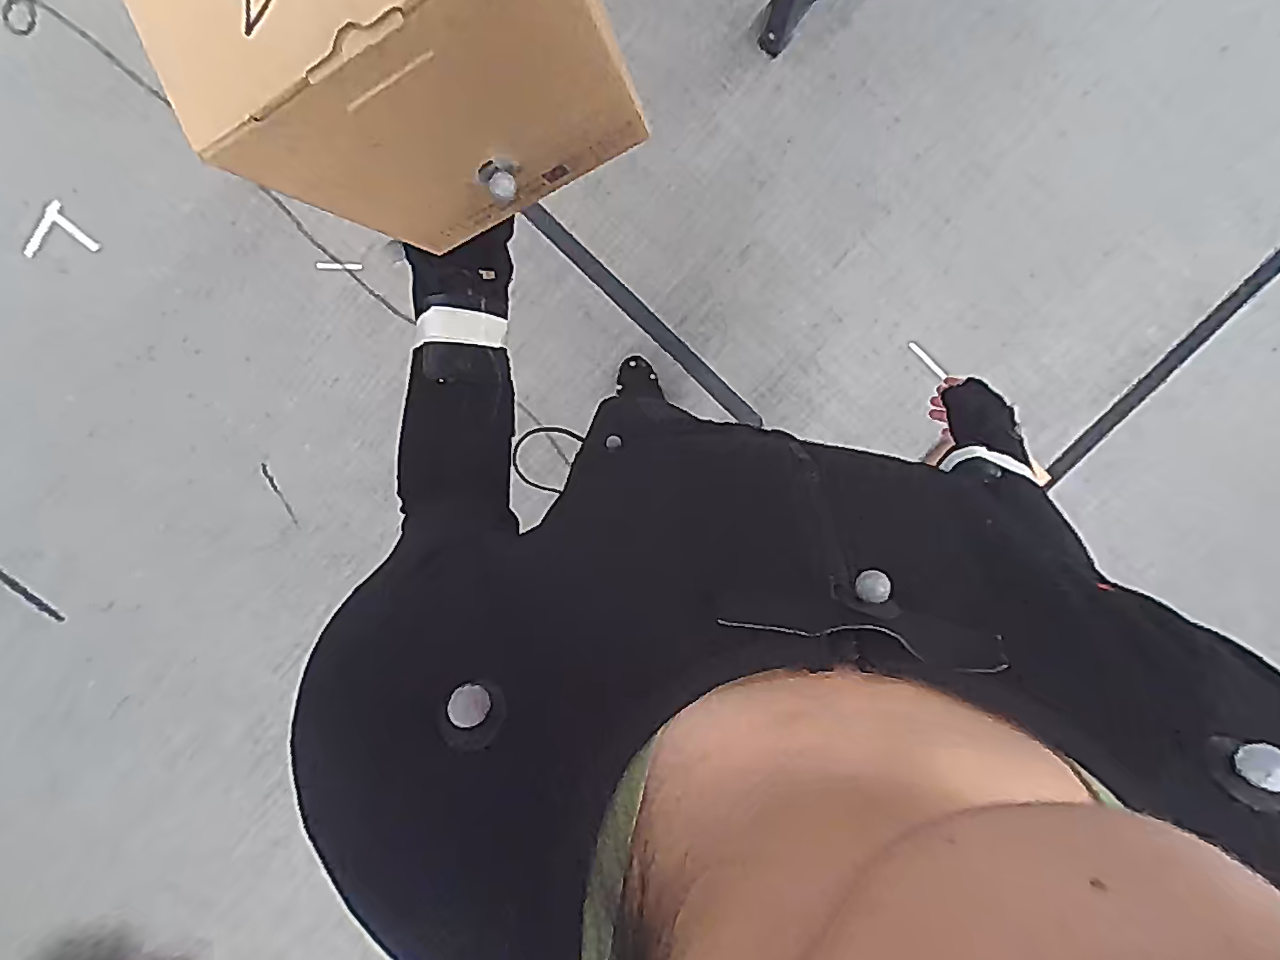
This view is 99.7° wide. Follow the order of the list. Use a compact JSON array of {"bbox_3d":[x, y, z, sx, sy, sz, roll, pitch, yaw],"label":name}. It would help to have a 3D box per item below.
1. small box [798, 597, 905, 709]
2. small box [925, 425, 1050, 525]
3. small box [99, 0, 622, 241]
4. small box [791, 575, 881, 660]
[{"bbox_3d":[0.493,0.399,1.287,0.168,0.176,0.179,-23,99,9],"label":"small box"},{"bbox_3d":[0.851,-0.020,1.353,0.168,0.176,0.179,45,99,-6],"label":"small box"},{"bbox_3d":[-0.127,-0.249,0.268,0.168,0.176,0.179,-17,97,17],"label":"small box"},{"bbox_3d":[0.516,0.373,1.449,0.168,0.176,0.179,10,102,1],"label":"small box"}]
